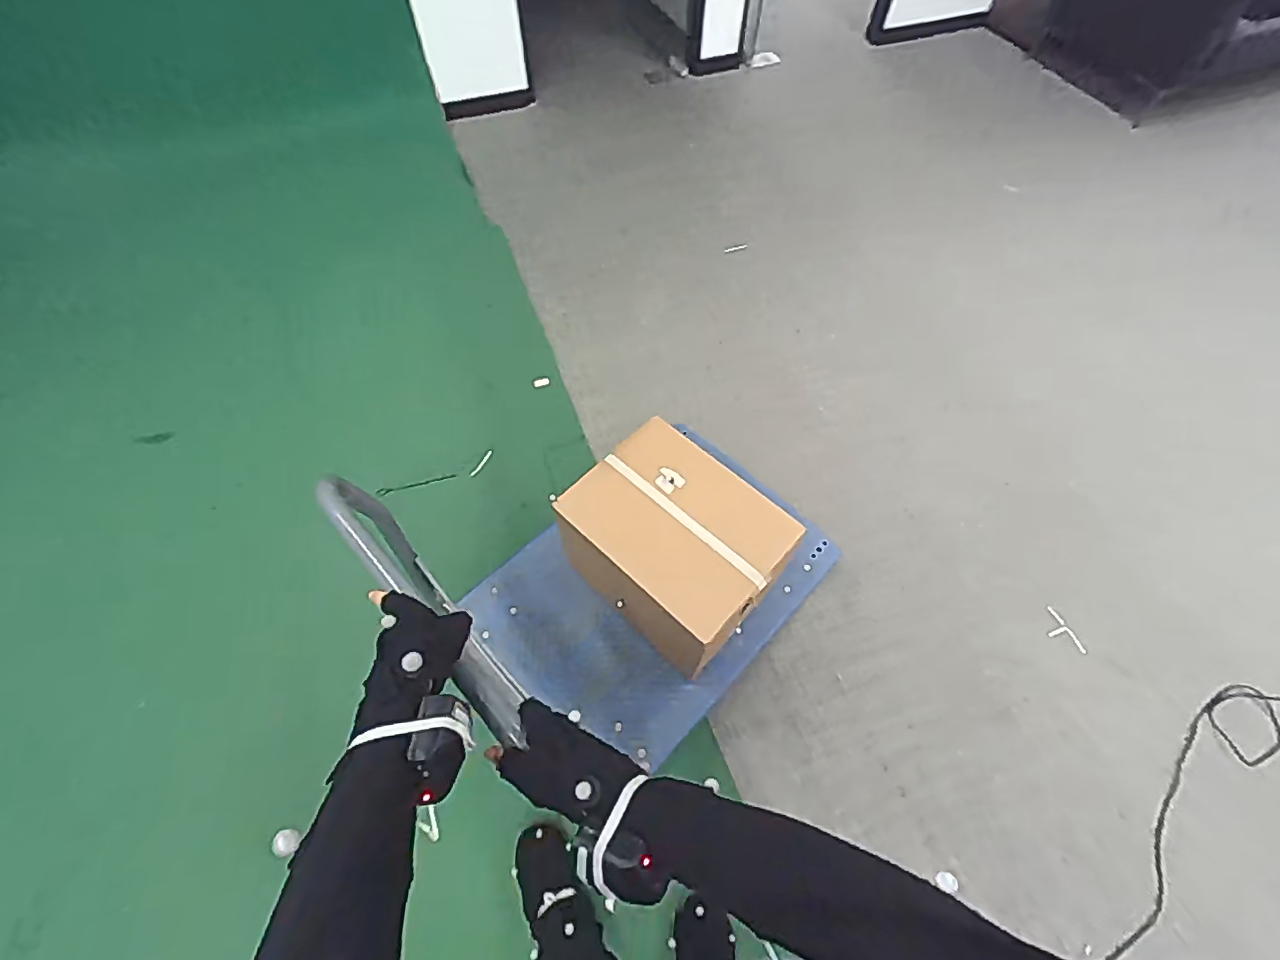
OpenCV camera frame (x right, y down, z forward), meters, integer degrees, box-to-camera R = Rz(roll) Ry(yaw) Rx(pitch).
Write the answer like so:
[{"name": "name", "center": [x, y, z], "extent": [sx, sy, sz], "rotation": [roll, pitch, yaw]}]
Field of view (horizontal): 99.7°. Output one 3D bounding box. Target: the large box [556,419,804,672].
[{"name": "large box", "center": [0.079, 0.149, 1.198], "extent": [0.408, 0.320, 0.320], "rotation": [39, 65, 21]}]
